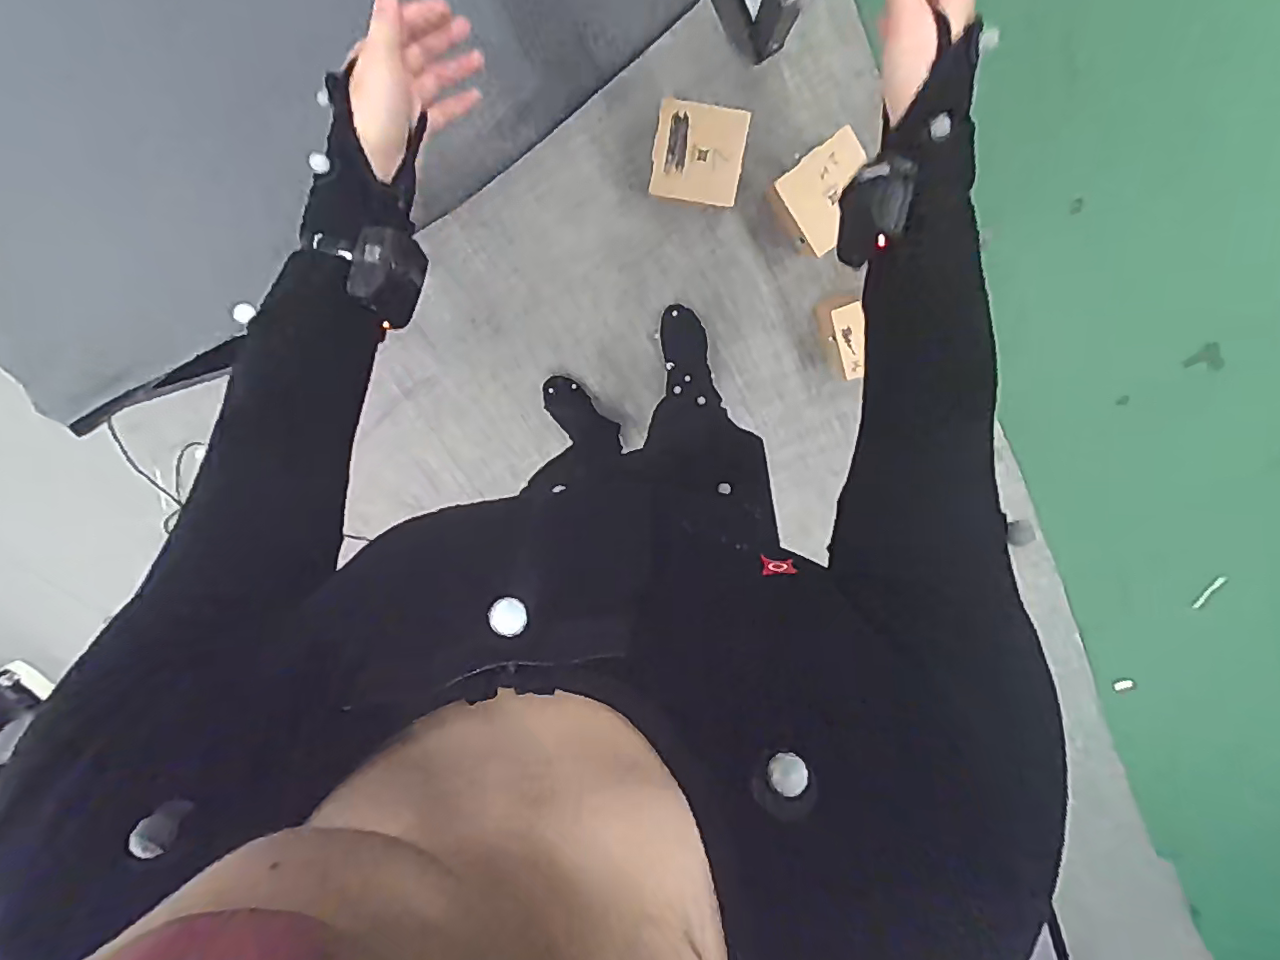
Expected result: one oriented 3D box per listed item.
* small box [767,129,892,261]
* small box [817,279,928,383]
[{"bbox_3d":[0.387,-0.588,1.128,0.168,0.176,0.179,-34,107,18],"label":"small box"},{"bbox_3d":[0.522,-0.344,1.229,0.179,0.176,0.168,-17,113,13],"label":"small box"}]
